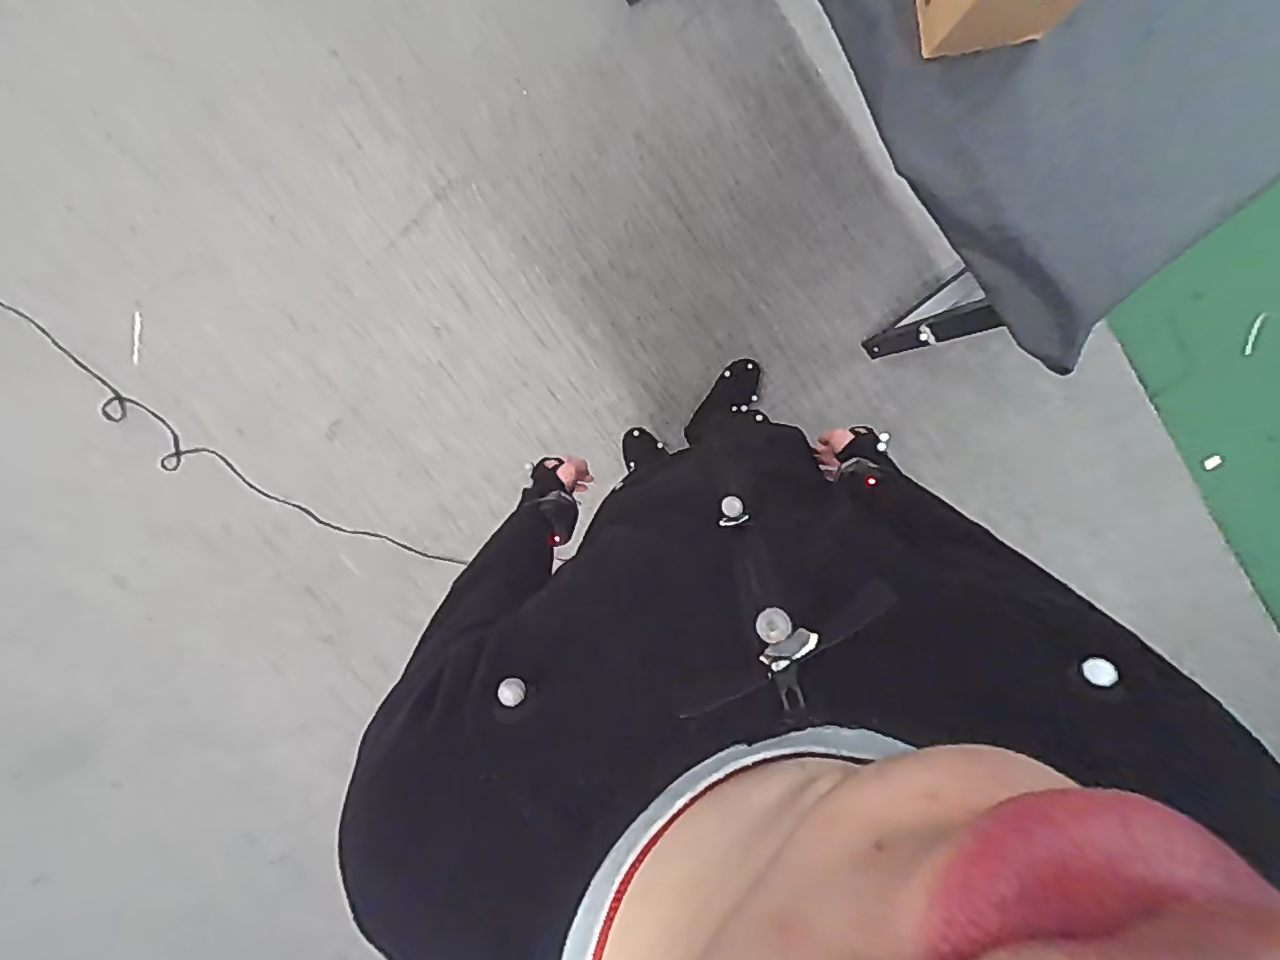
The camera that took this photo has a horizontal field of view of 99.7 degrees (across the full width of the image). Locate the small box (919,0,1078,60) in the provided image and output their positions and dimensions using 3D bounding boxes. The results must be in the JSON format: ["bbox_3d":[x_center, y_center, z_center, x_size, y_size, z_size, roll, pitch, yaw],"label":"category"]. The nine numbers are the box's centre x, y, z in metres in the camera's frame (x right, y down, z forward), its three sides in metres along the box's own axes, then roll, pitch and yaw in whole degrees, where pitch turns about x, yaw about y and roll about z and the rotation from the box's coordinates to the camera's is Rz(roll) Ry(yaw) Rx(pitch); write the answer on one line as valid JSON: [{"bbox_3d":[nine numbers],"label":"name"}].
[{"bbox_3d":[0.469,-0.671,0.677,0.179,0.176,0.168,-11,98,-3],"label":"small box"}]
